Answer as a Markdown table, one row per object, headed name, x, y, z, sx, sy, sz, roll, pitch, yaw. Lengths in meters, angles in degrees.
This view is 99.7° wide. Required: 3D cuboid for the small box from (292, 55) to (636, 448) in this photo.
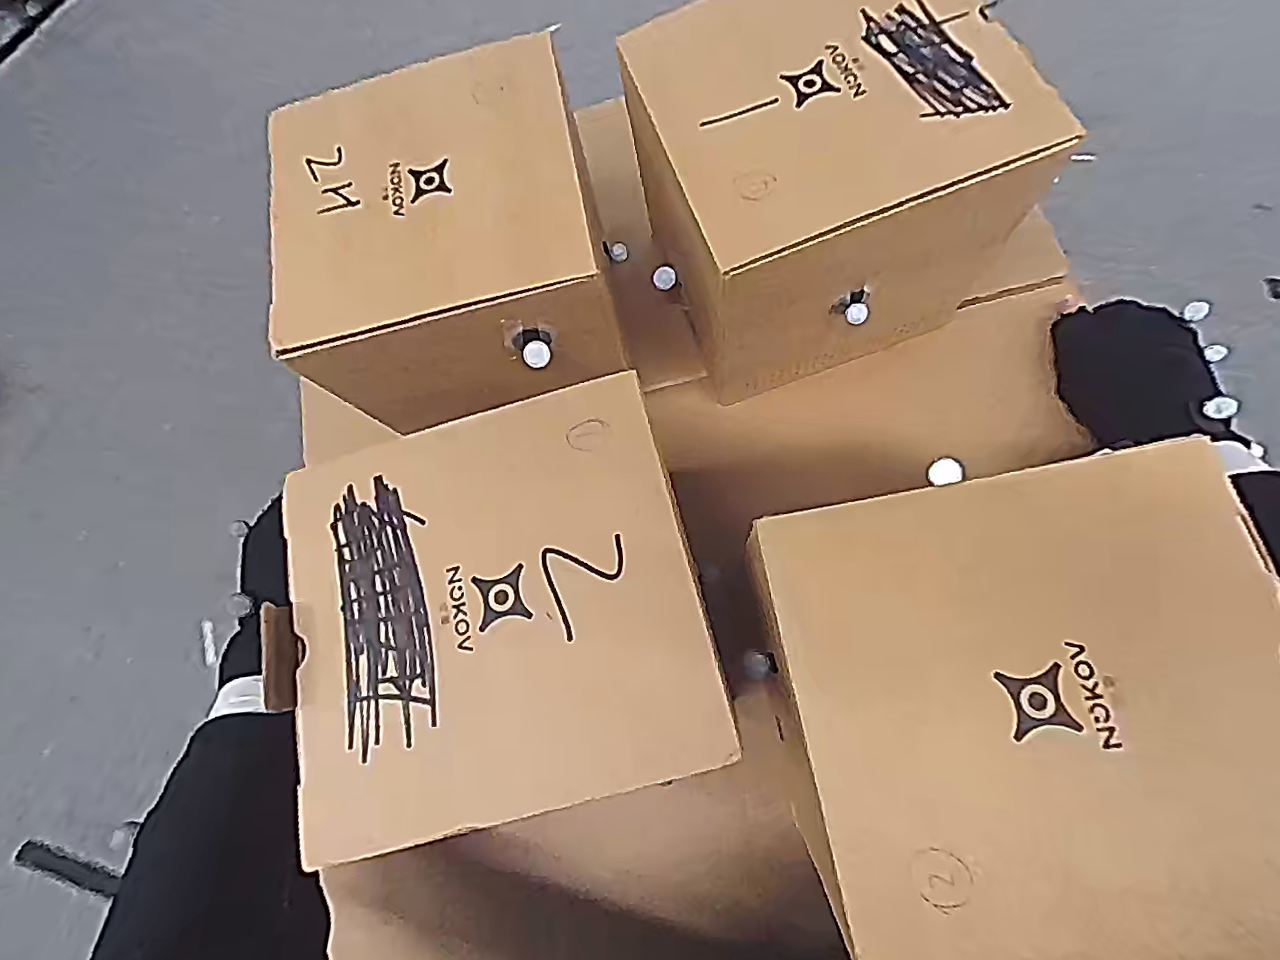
| name | x | y | z | sx | sy | sz | roll | pitch | yaw |
| --- | --- | --- | --- | --- | --- | --- | --- | --- | --- |
| small box | -0.104 | -0.136 | 0.380 | 0.179 | 0.176 | 0.168 | -12 | 74 | 6 |
